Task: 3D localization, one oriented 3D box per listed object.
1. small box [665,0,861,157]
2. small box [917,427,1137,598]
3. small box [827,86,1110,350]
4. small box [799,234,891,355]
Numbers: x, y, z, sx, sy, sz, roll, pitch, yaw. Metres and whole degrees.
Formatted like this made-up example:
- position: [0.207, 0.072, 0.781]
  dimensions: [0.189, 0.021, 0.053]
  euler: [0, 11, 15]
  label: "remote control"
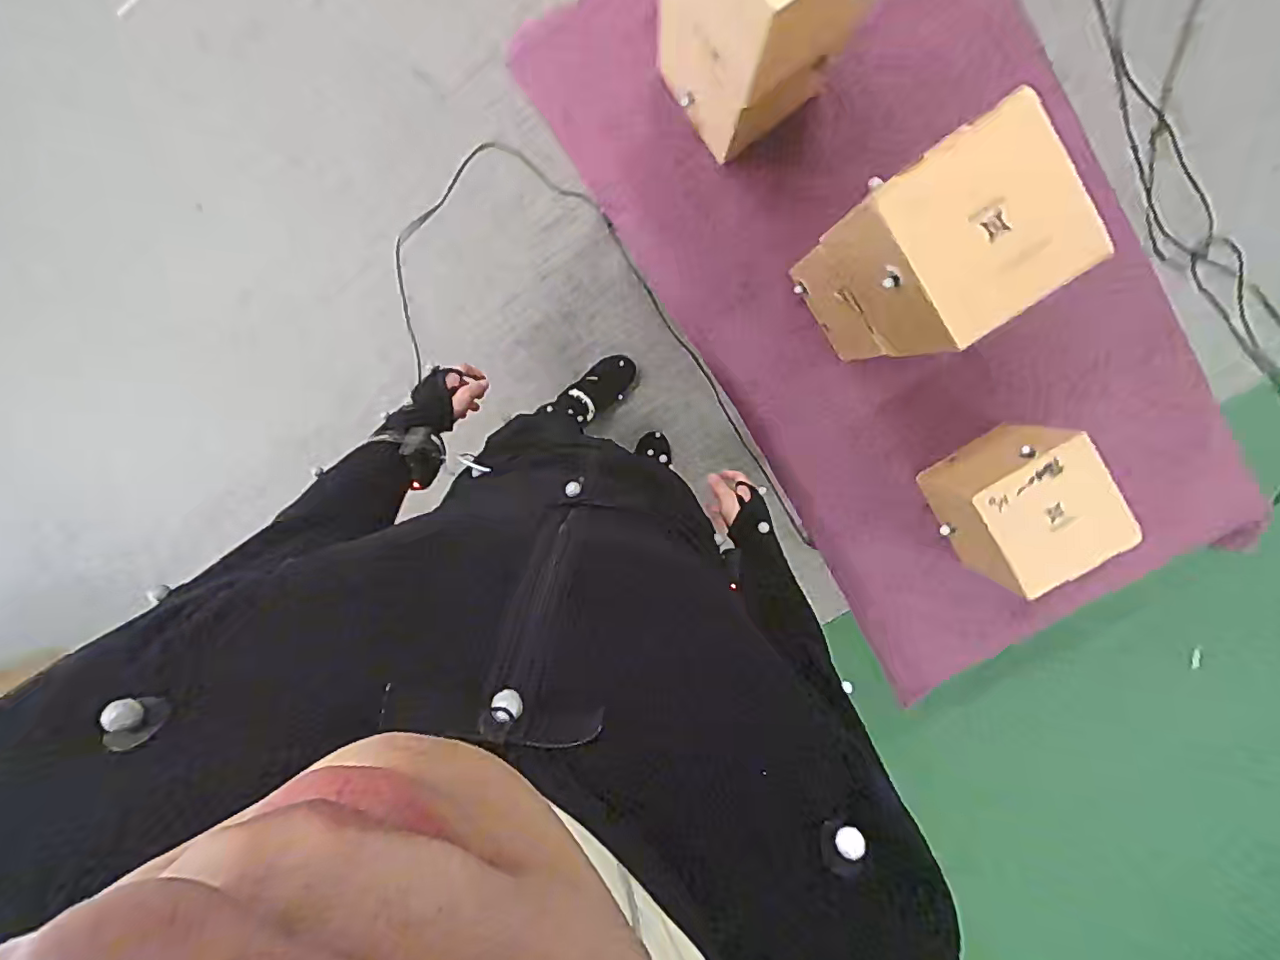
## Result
- position: [0.143, -0.570, 0.701]
  dimensions: [0.179, 0.176, 0.168]
  euler: [-34, 97, 7]
  label: "small box"
- position: [0.552, 0.037, 0.796]
  dimensions: [0.168, 0.176, 0.179]
  euler: [-32, 97, 6]
  label: "small box"
- position: [0.332, -0.258, 0.586]
  dimensions: [0.168, 0.176, 0.179]
  euler: [-33, 98, 8]
  label: "small box"
- position: [0.340, -0.288, 0.746]
  dimensions: [0.179, 0.176, 0.168]
  euler: [-34, 97, 6]
  label: "small box"
